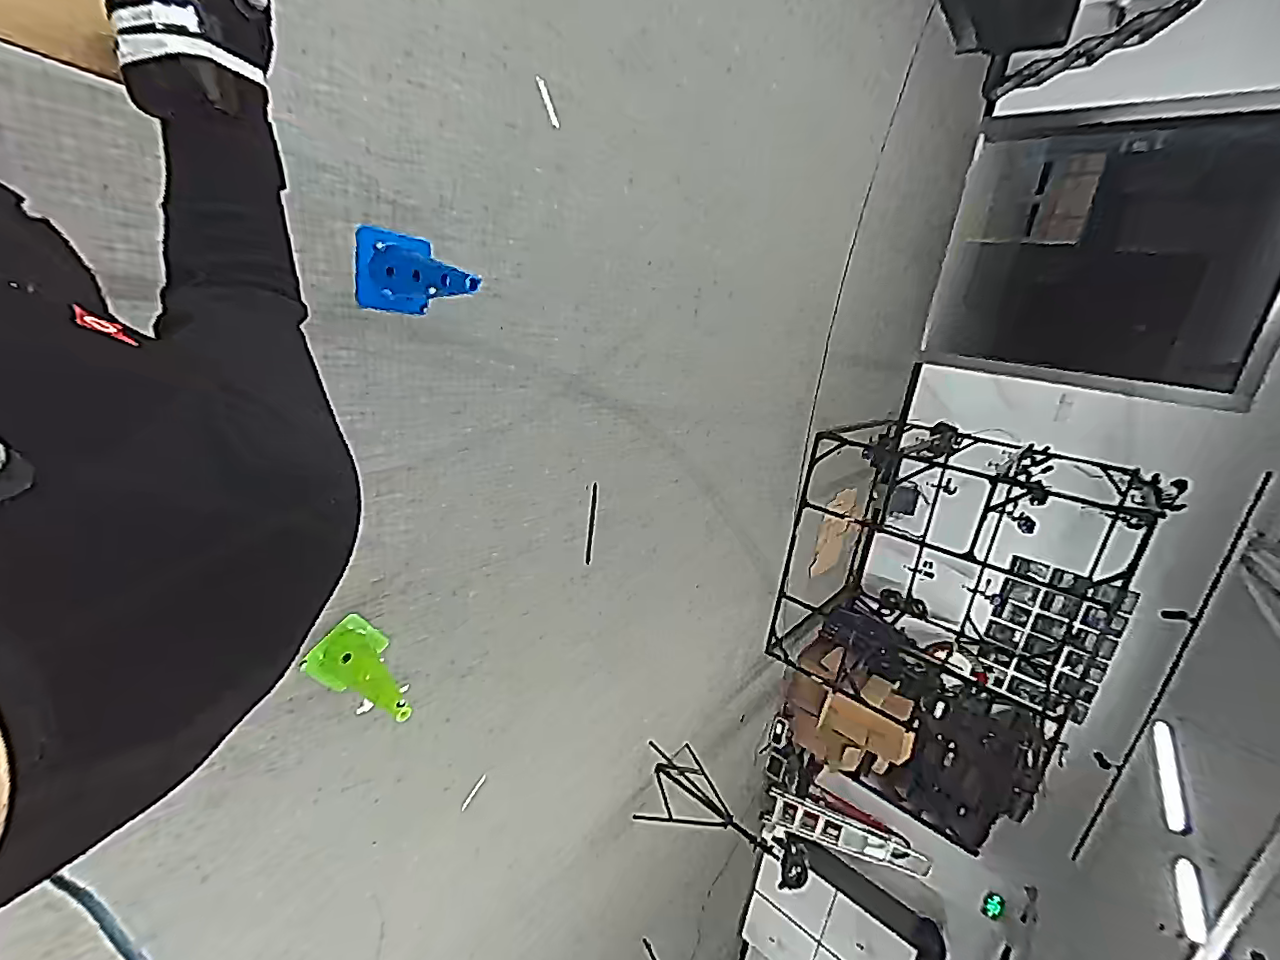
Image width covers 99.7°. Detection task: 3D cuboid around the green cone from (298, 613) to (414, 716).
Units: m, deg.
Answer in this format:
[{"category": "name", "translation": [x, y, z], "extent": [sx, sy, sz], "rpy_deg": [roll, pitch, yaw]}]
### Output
[{"category": "green cone", "translation": [-0.768, 0.573, 1.552], "extent": [0.202, 0.368, 0.200], "rpy_deg": [-51, 142, -26]}]

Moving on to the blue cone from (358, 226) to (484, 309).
[{"category": "blue cone", "translation": [-0.528, -0.514, 1.350], "extent": [0.192, 0.380, 0.193], "rpy_deg": [-9, 114, -52]}]
